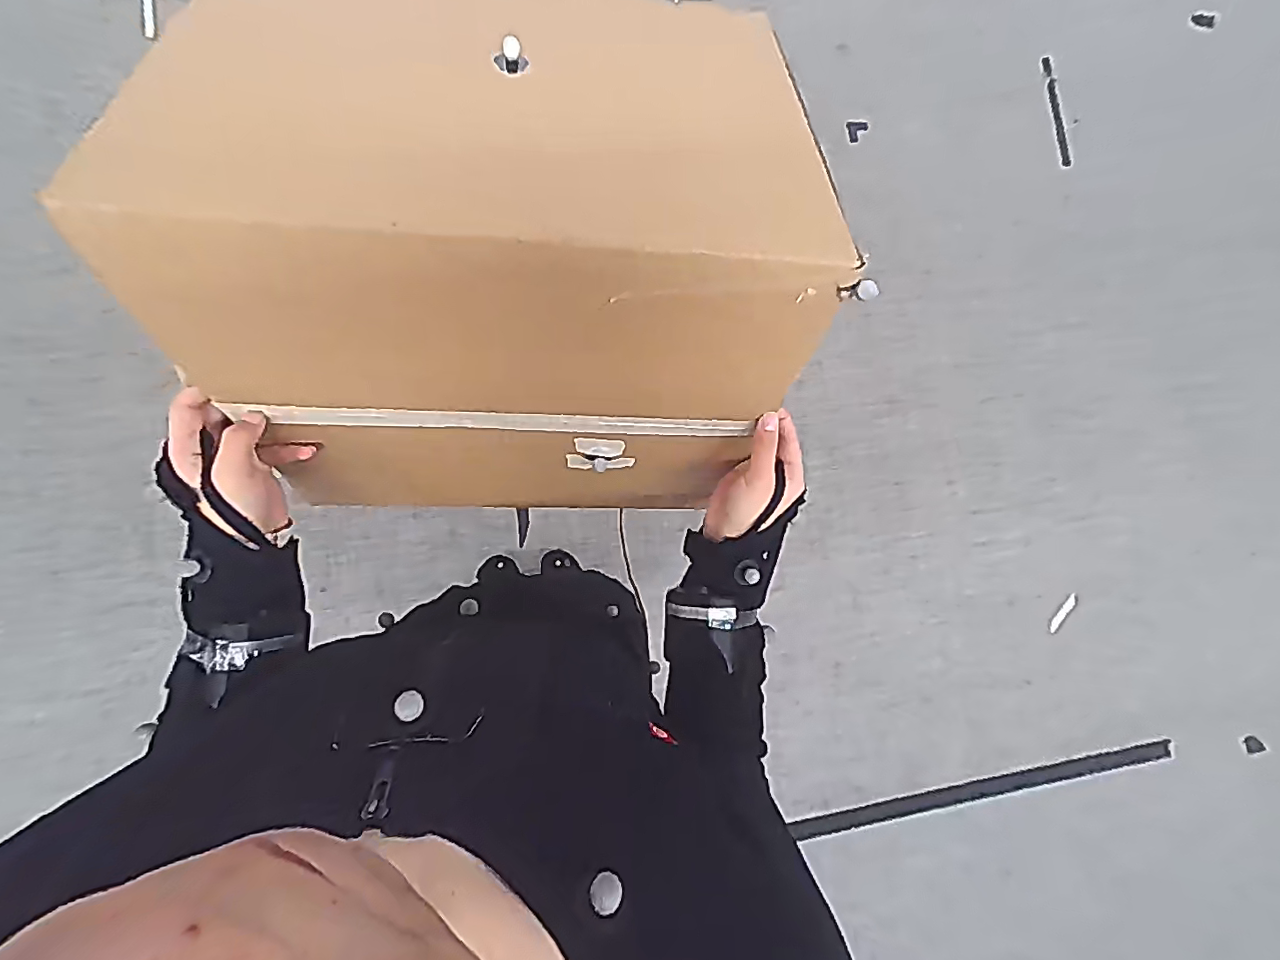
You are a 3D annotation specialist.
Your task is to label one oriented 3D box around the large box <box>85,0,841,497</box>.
[{"bbox_3d":[-0.107,-0.190,0.488,0.408,0.320,0.320,0,62,-8],"label":"large box"}]
